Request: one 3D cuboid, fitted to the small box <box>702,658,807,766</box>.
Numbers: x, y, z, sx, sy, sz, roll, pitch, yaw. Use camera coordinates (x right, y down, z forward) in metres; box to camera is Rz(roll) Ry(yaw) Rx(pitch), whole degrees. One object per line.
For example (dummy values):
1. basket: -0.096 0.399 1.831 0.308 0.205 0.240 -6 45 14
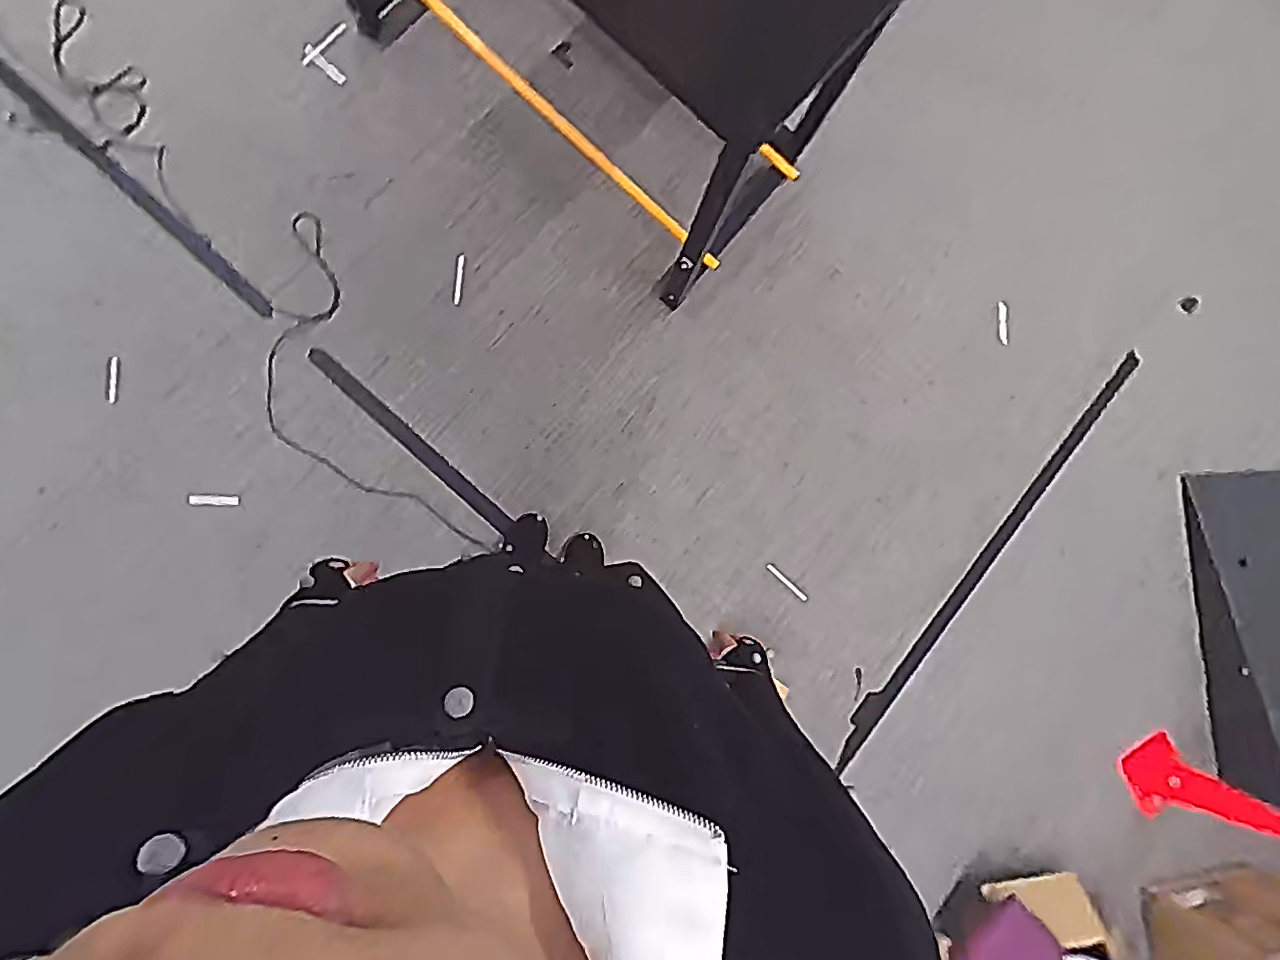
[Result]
1. small box: 0.283 0.578 1.376 0.179 0.176 0.168 35 82 -3
